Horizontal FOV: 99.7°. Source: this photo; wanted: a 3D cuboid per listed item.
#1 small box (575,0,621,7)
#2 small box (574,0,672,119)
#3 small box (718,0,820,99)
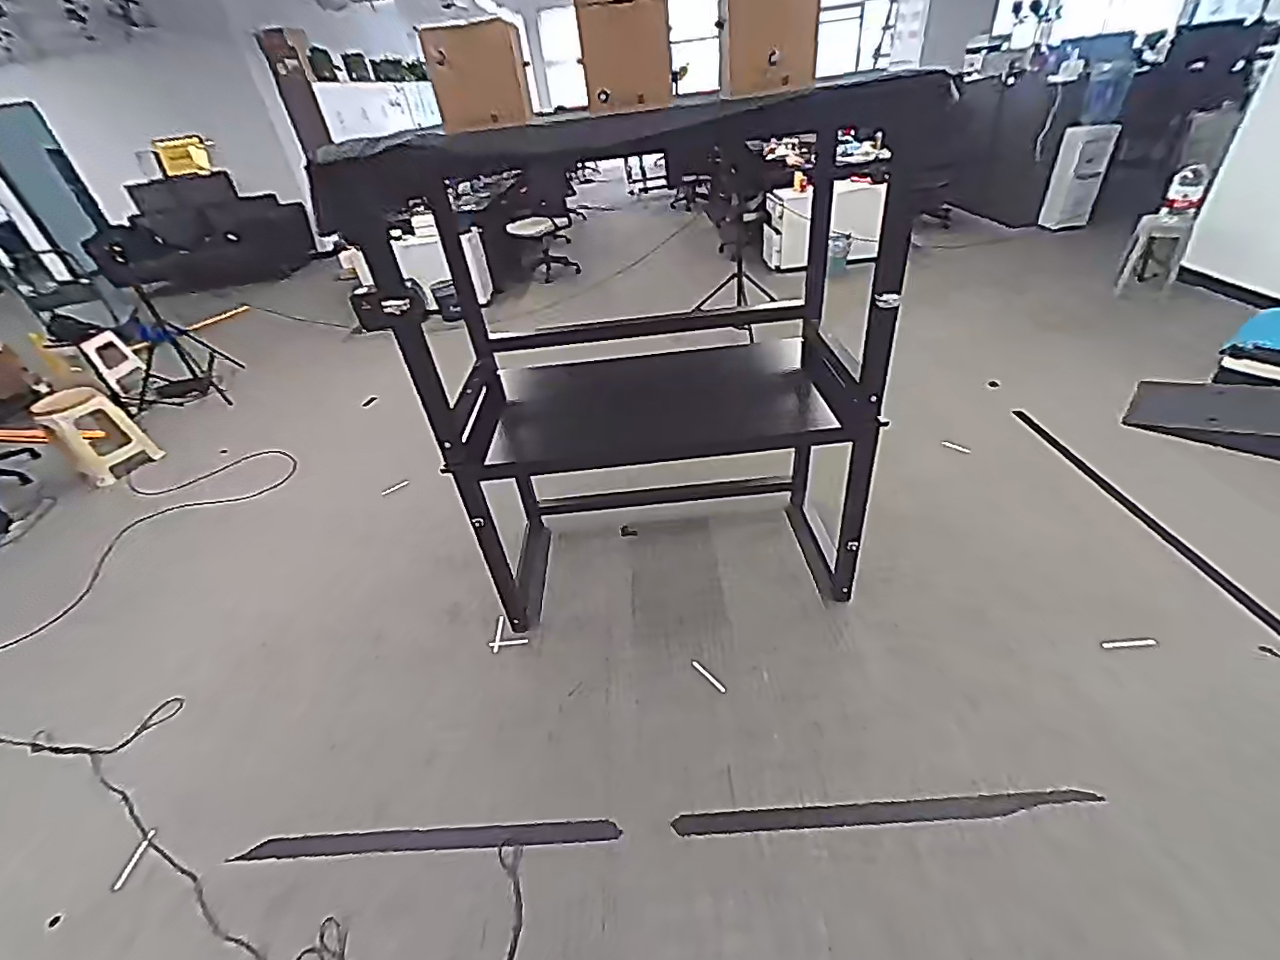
[{"bbox_3d":[-0.045,-0.959,0.976,0.168,0.176,0.179,-6,36,4],"label":"small box"},{"bbox_3d":[-0.029,-0.826,1.068,0.168,0.176,0.179,-6,34,2],"label":"small box"},{"bbox_3d":[0.244,-0.855,1.056,0.168,0.176,0.179,-6,36,4],"label":"small box"}]
